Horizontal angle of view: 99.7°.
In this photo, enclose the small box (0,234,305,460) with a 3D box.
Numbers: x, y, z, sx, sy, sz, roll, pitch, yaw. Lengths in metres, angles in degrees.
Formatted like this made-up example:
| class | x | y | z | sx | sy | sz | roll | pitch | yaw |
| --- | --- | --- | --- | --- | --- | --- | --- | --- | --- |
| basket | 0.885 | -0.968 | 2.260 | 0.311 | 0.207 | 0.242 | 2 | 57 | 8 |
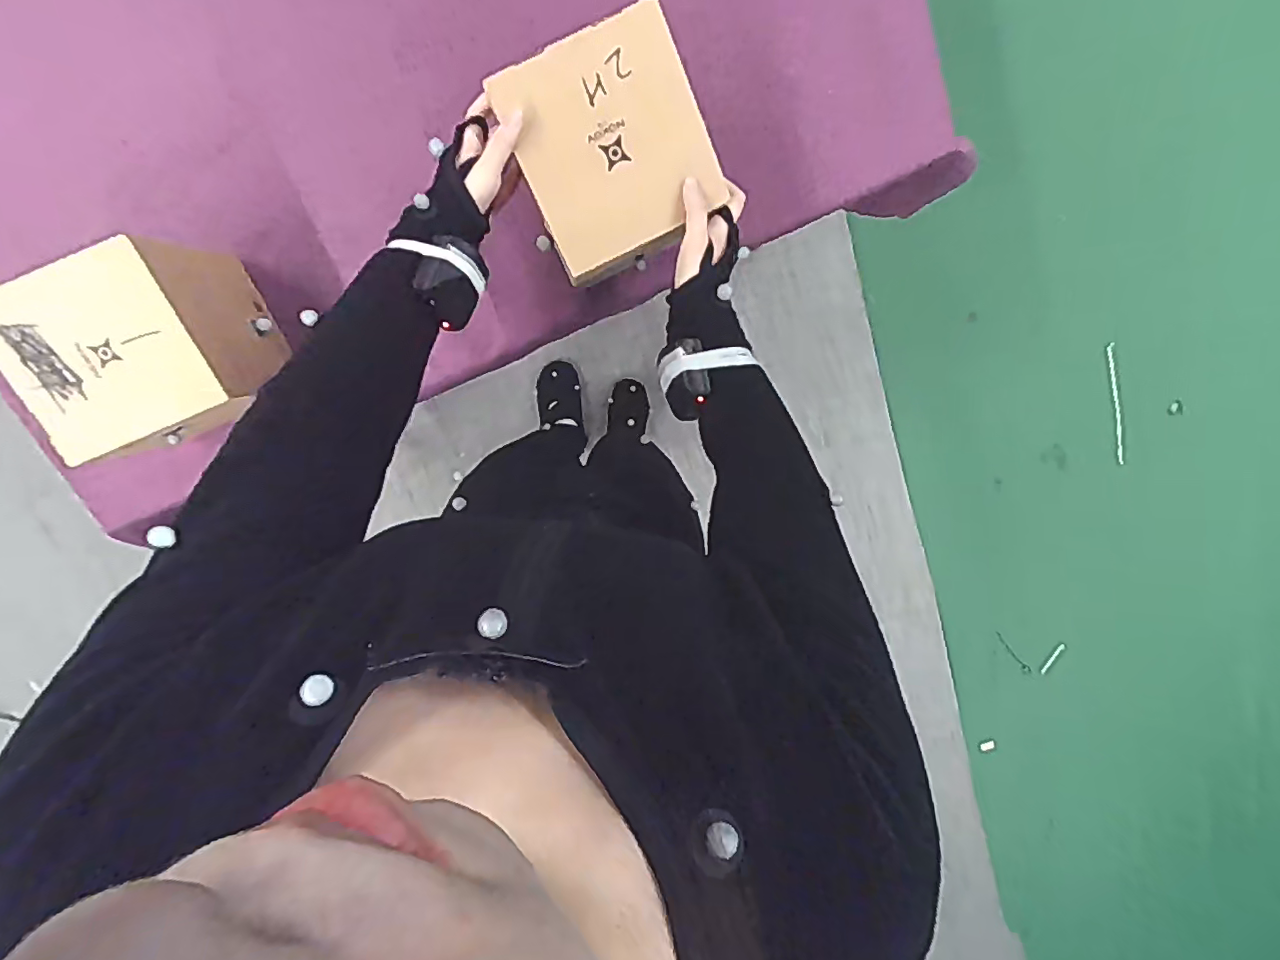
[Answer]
| class | x | y | z | sx | sy | sz | roll | pitch | yaw |
| --- | --- | --- | --- | --- | --- | --- | --- | --- | --- |
| small box | -0.521 | -0.140 | 0.591 | 0.179 | 0.176 | 0.168 | -23 | 106 | 0 |
